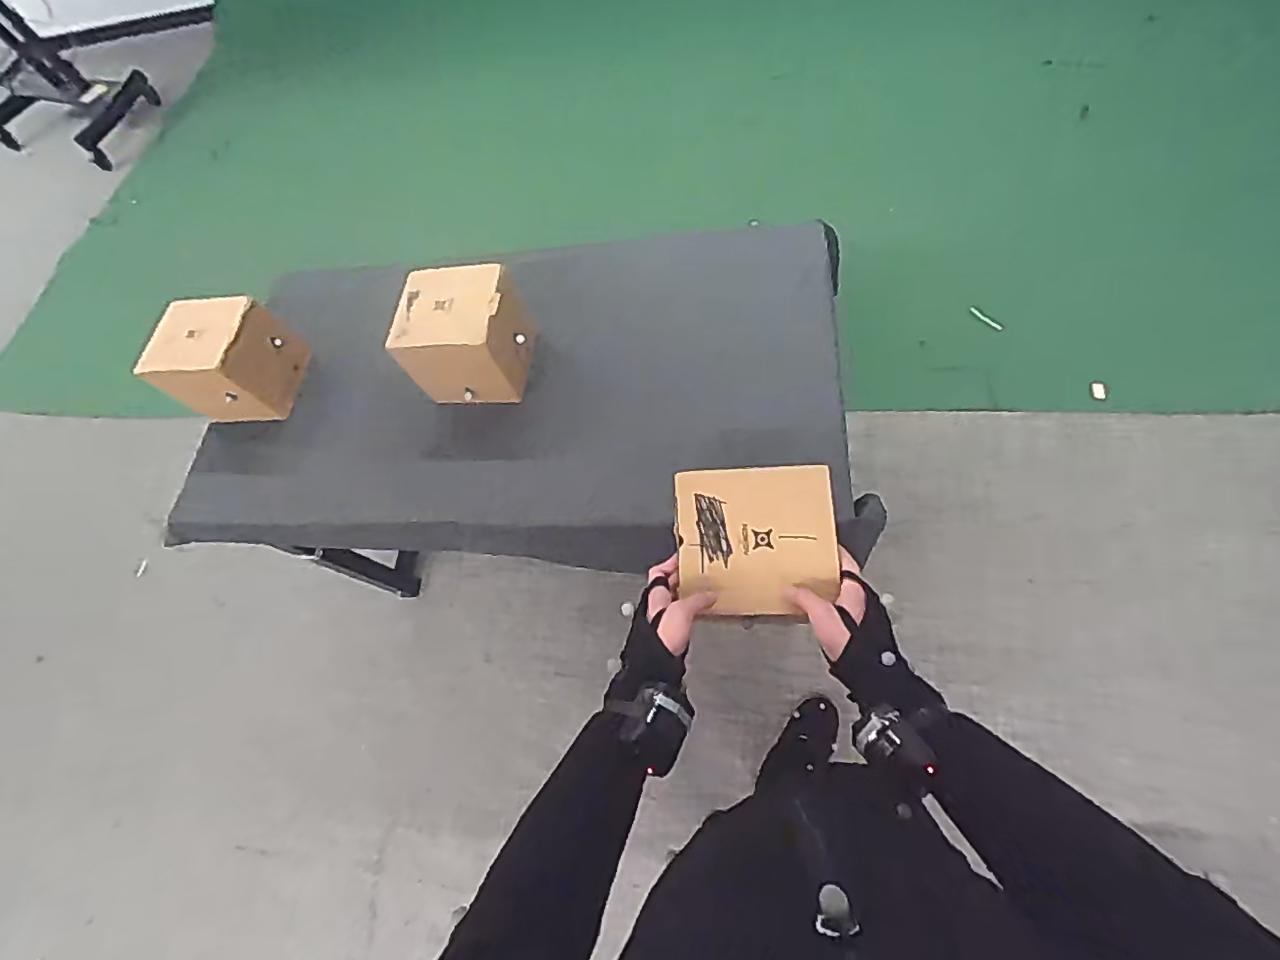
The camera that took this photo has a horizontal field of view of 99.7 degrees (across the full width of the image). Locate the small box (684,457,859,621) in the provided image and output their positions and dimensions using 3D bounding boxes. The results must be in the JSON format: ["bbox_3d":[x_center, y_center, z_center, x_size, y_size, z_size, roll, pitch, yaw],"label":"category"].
[{"bbox_3d":[0.147,0.081,0.658,0.179,0.176,0.168,-2,71,6],"label":"small box"}]

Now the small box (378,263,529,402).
[{"bbox_3d":[-0.305,-0.247,0.930,0.179,0.176,0.168,1,64,8],"label":"small box"}]

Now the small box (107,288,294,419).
[{"bbox_3d":[-0.782,-0.224,0.987,0.179,0.176,0.168,-1,63,9],"label":"small box"}]
